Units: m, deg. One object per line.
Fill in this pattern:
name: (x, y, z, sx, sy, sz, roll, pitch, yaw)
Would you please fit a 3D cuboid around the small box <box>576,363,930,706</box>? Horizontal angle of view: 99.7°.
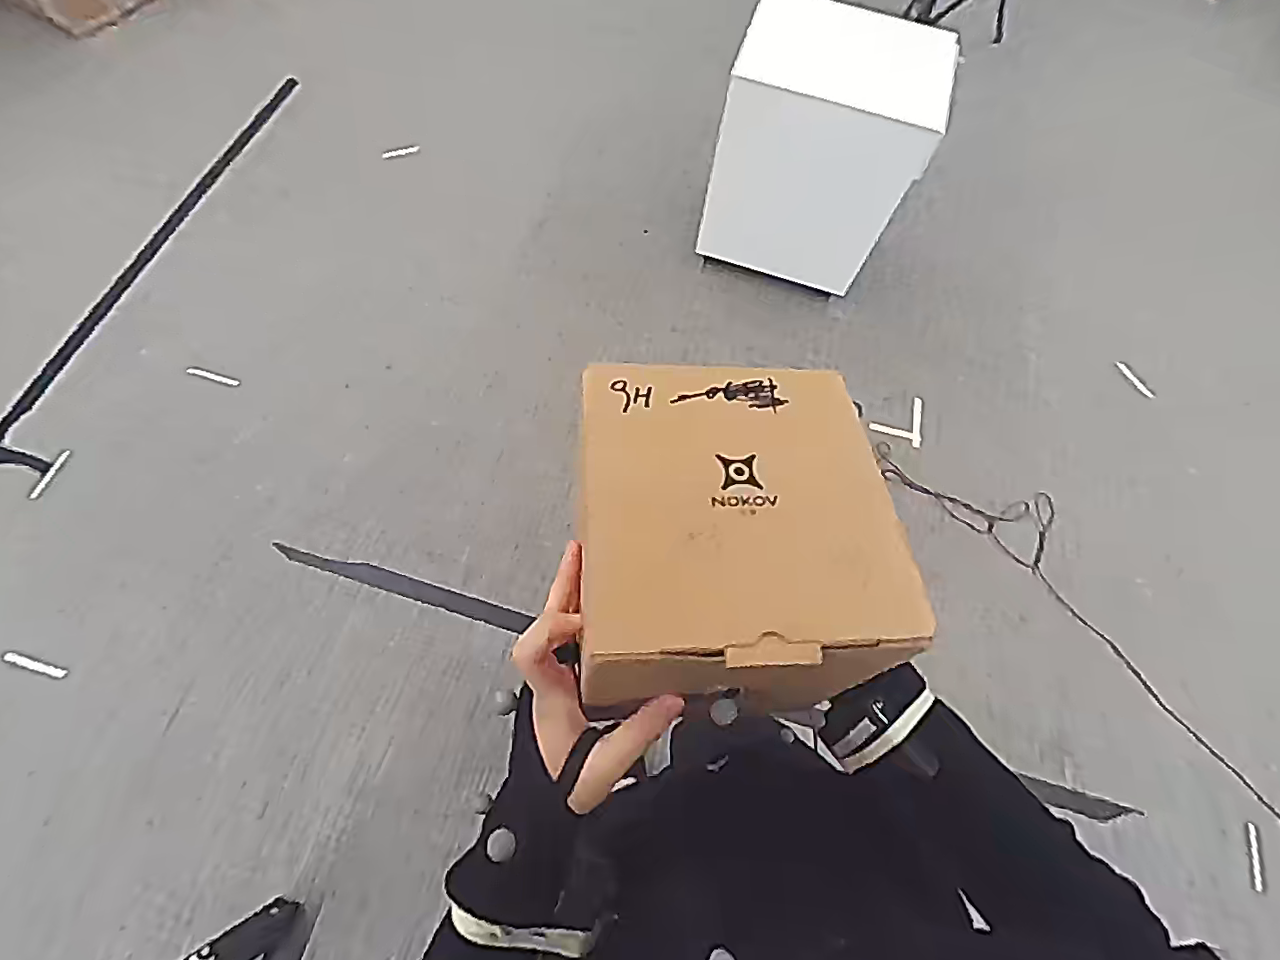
small box: (0.044, 0.046, 0.358, 0.168, 0.176, 0.179, 0, 58, -9)
